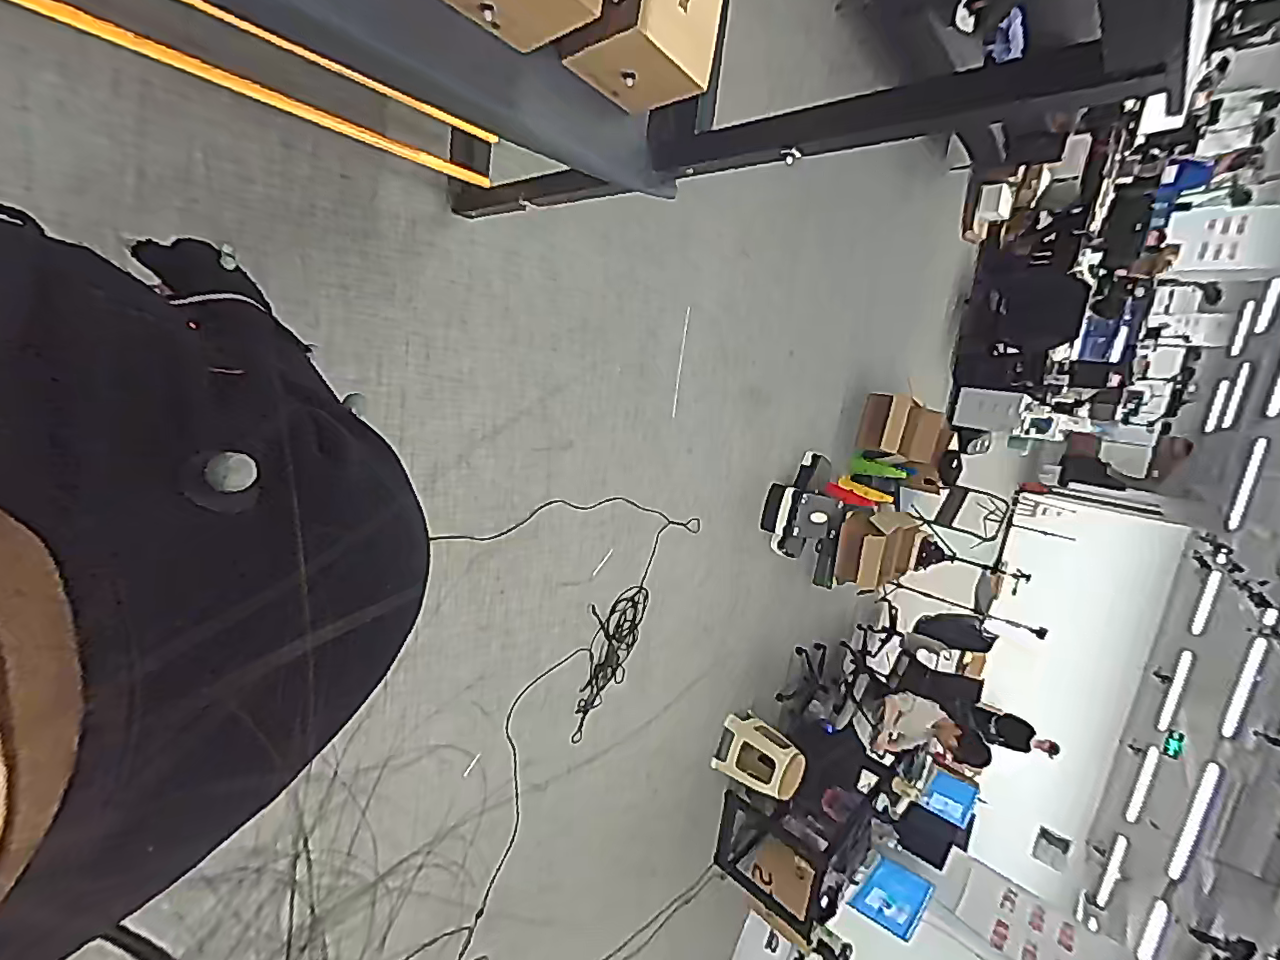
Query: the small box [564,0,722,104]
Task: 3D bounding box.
[{"bbox_3d":[0.004,-0.718,0.826,0.168,0.176,0.179,1,103,-49],"label":"small box"}]
